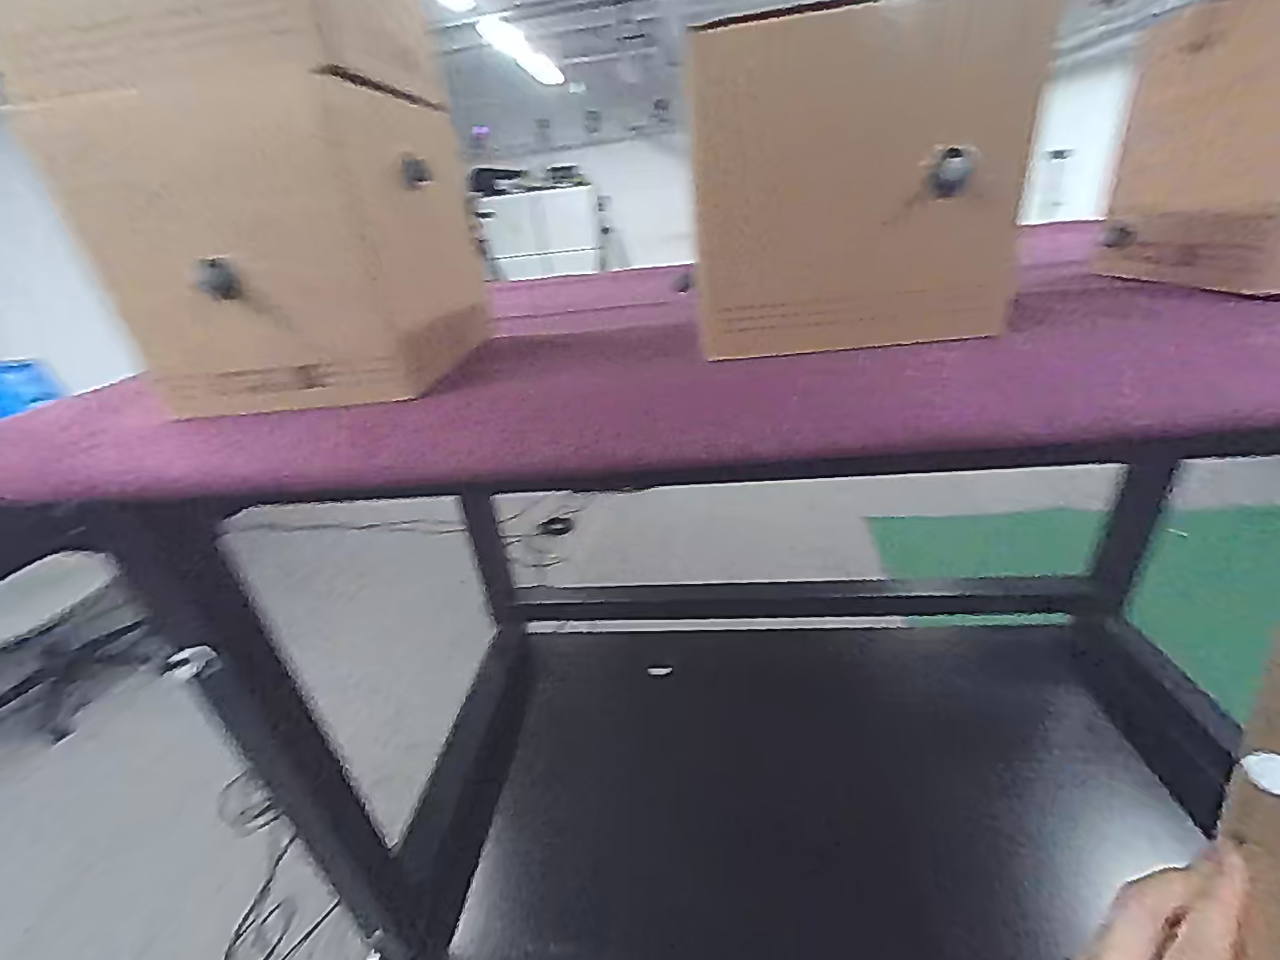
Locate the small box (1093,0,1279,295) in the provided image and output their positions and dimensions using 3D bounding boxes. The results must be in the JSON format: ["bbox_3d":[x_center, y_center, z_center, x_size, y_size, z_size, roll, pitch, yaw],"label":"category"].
[{"bbox_3d":[0.438,-0.219,0.347,0.179,0.176,0.168,-3,25,8],"label":"small box"}]

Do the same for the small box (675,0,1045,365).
[{"bbox_3d":[0.117,-0.185,0.364,0.179,0.176,0.168,-5,26,6],"label":"small box"}]

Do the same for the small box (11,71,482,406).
[{"bbox_3d":[-0.224,-0.154,0.374,0.168,0.176,0.179,-3,27,4],"label":"small box"}]
